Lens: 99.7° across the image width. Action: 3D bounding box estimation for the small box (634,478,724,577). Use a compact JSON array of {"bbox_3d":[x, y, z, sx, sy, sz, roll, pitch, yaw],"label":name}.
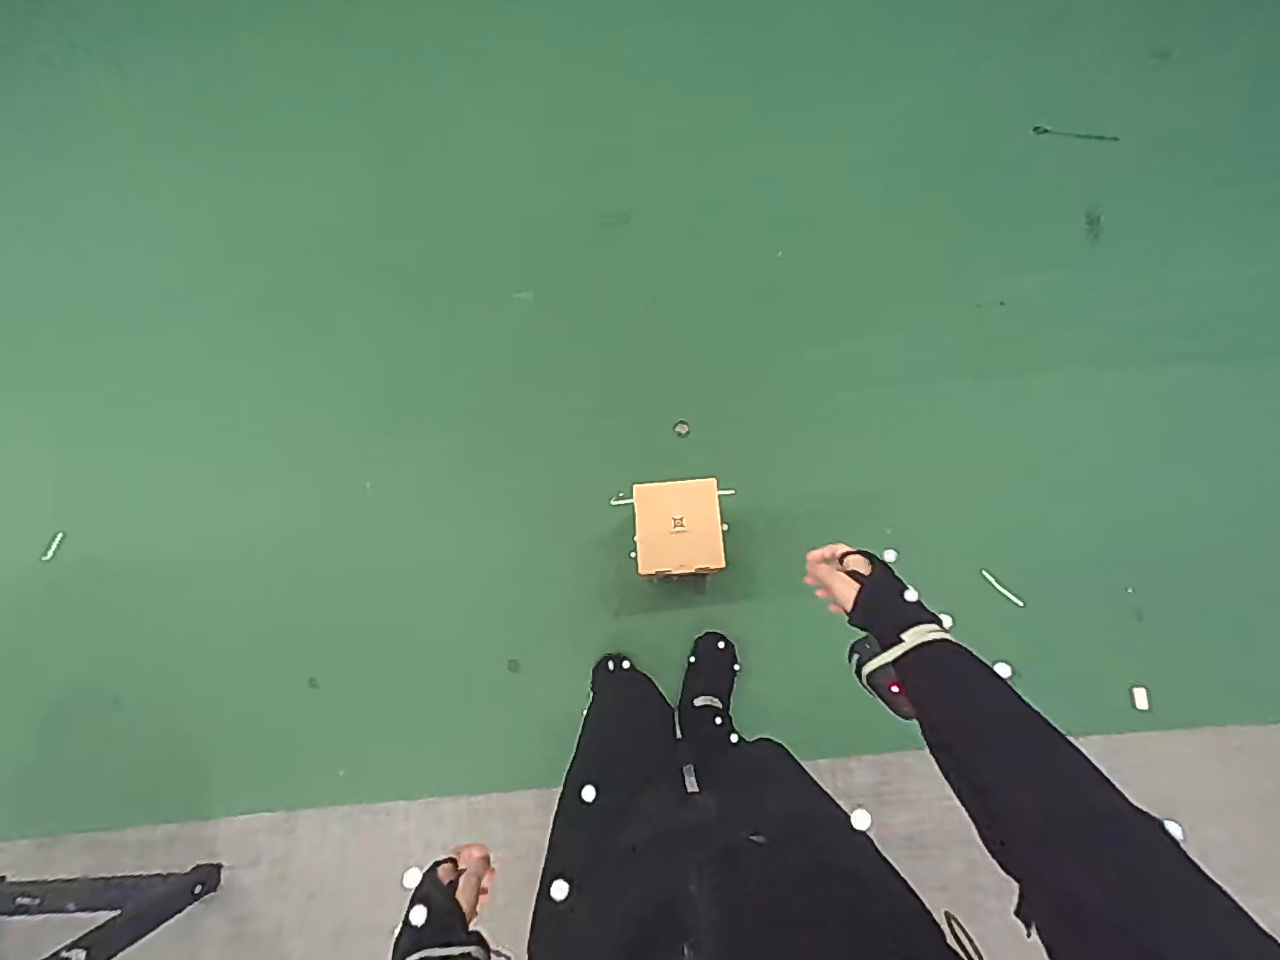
[{"bbox_3d":[0.074,0.104,1.110,0.168,0.176,0.179,-5,78,1],"label":"small box"}]
